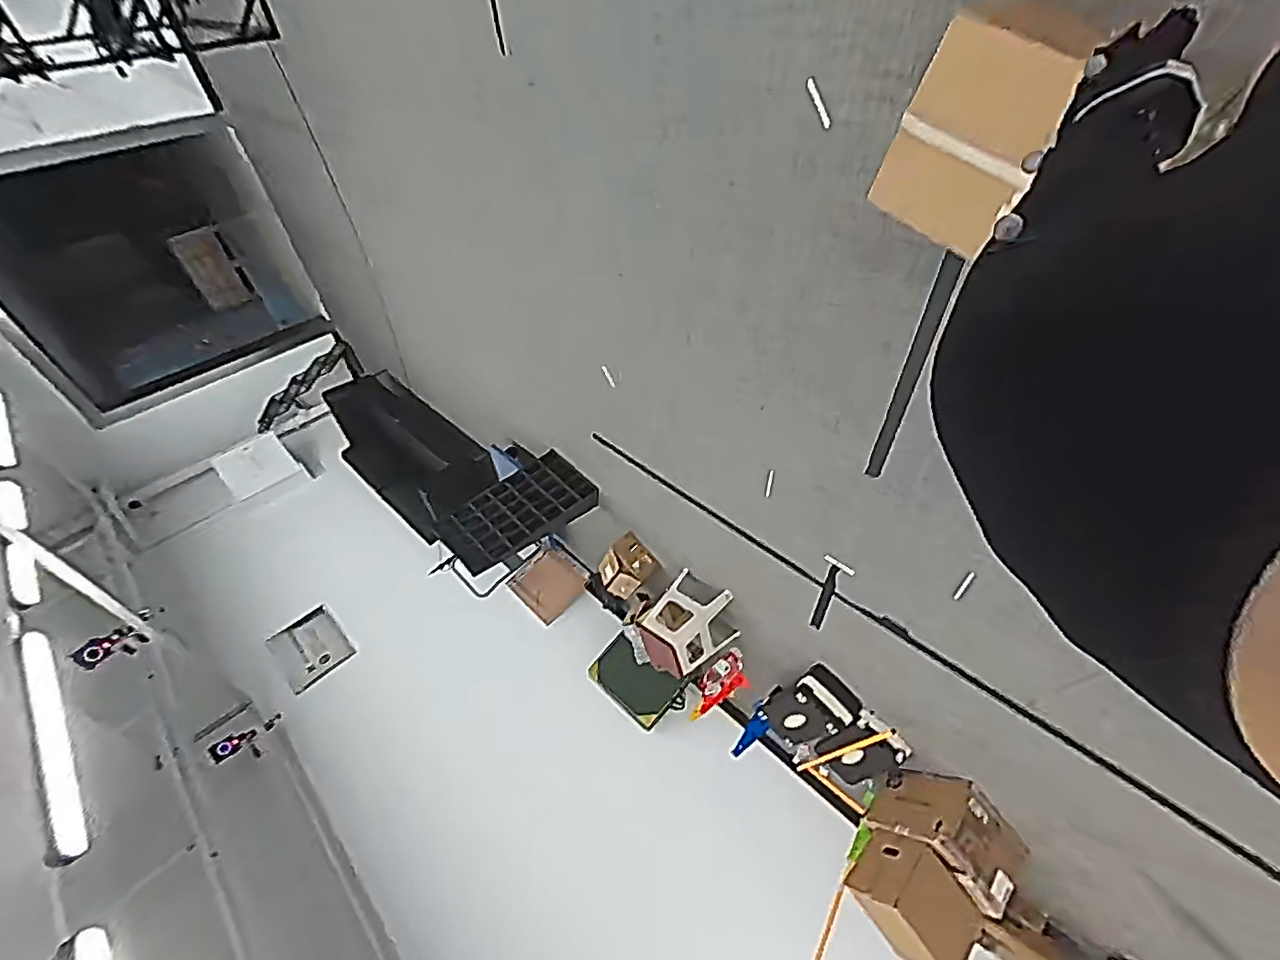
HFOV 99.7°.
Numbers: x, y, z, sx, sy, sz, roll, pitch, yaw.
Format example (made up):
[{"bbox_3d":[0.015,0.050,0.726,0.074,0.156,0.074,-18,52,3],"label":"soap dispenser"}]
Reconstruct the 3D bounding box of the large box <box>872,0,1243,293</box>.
[{"bbox_3d":[0.738,-0.628,1.003,0.408,0.320,0.320,42,150,19],"label":"large box"}]
